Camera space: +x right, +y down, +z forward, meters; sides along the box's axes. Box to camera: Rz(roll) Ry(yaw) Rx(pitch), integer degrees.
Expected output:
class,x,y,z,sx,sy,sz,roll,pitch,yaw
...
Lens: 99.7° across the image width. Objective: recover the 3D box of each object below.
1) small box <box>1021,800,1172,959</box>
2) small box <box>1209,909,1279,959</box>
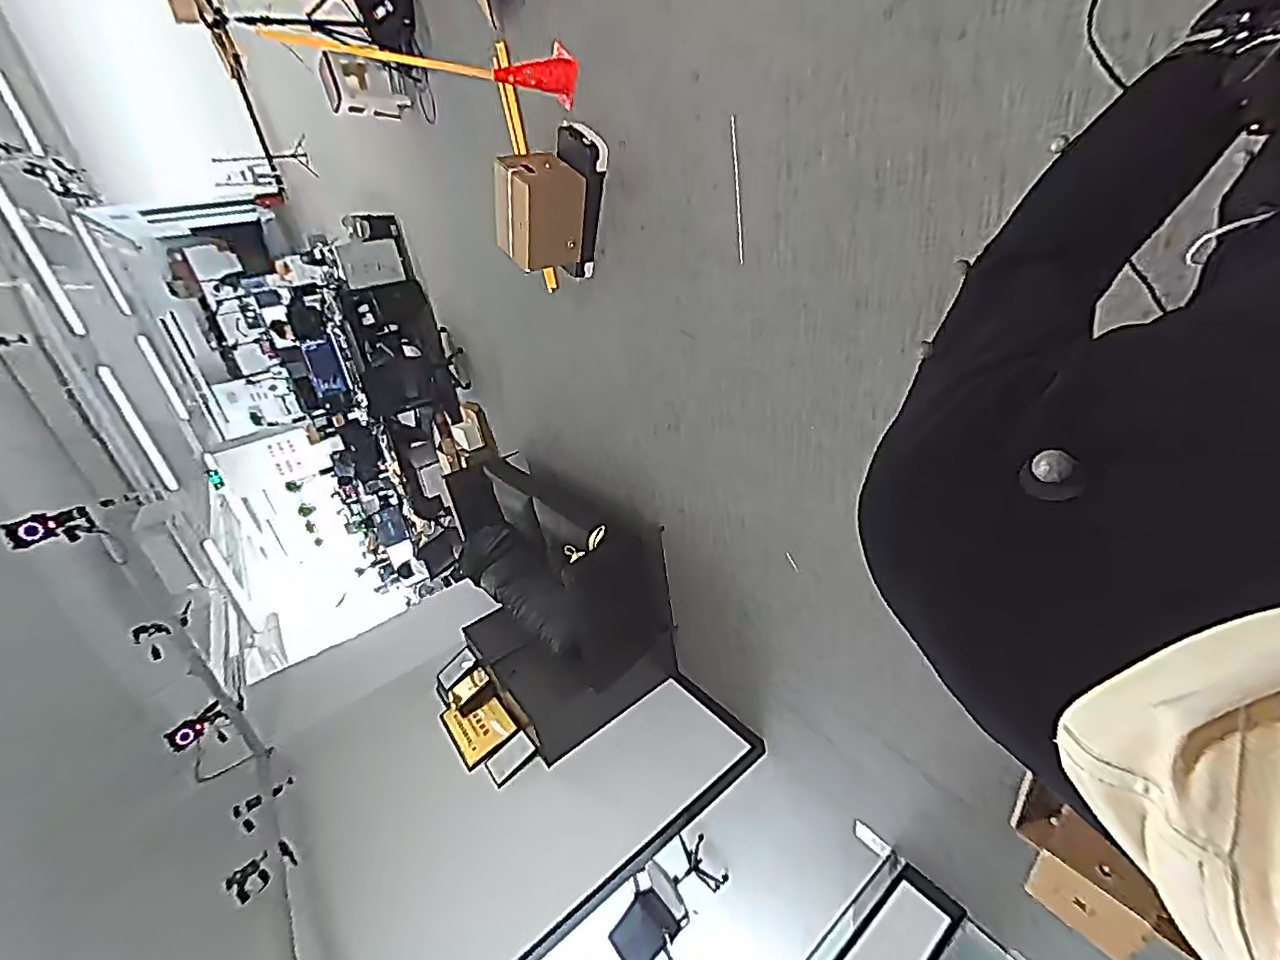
class,x,y,z,sx,sy,sz,roll,pitch,yaw
small box,0.931,0.811,1.106,0.179,0.176,0.168,29,134,47
small box,1.088,0.893,0.913,0.168,0.176,0.179,26,133,47
